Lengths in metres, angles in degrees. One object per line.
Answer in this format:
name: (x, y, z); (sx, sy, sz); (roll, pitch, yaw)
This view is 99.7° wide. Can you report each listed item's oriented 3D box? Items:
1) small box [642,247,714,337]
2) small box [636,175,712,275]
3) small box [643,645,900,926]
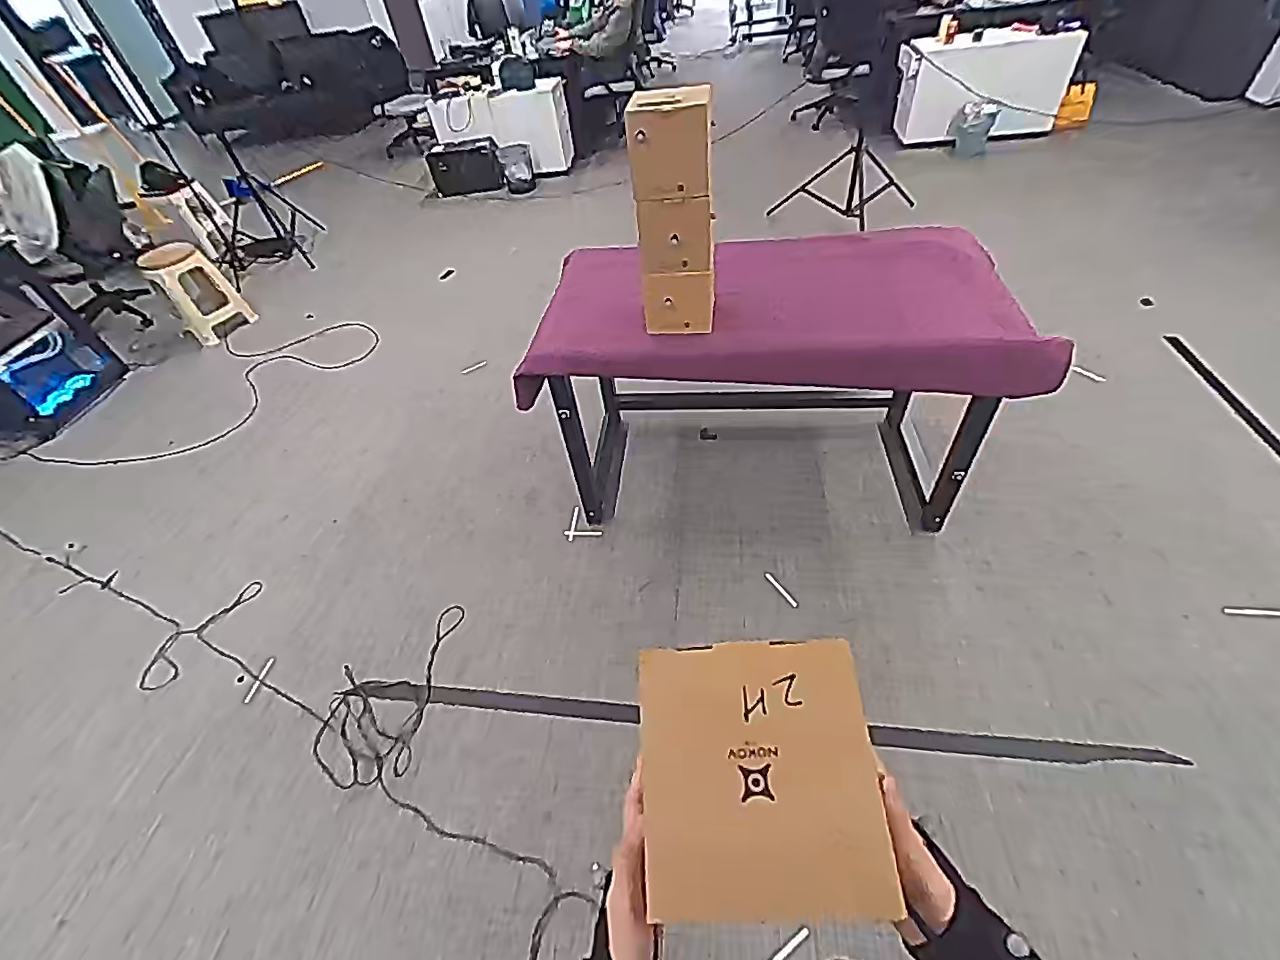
small box: (0.105, -0.485, 1.404); (0.168, 0.176, 0.179); (2, 46, 9)
small box: (0.088, -0.602, 1.291); (0.168, 0.176, 0.179); (0, 47, 8)
small box: (0.095, 0.249, 0.460); (0.168, 0.176, 0.179); (-5, 60, 6)
